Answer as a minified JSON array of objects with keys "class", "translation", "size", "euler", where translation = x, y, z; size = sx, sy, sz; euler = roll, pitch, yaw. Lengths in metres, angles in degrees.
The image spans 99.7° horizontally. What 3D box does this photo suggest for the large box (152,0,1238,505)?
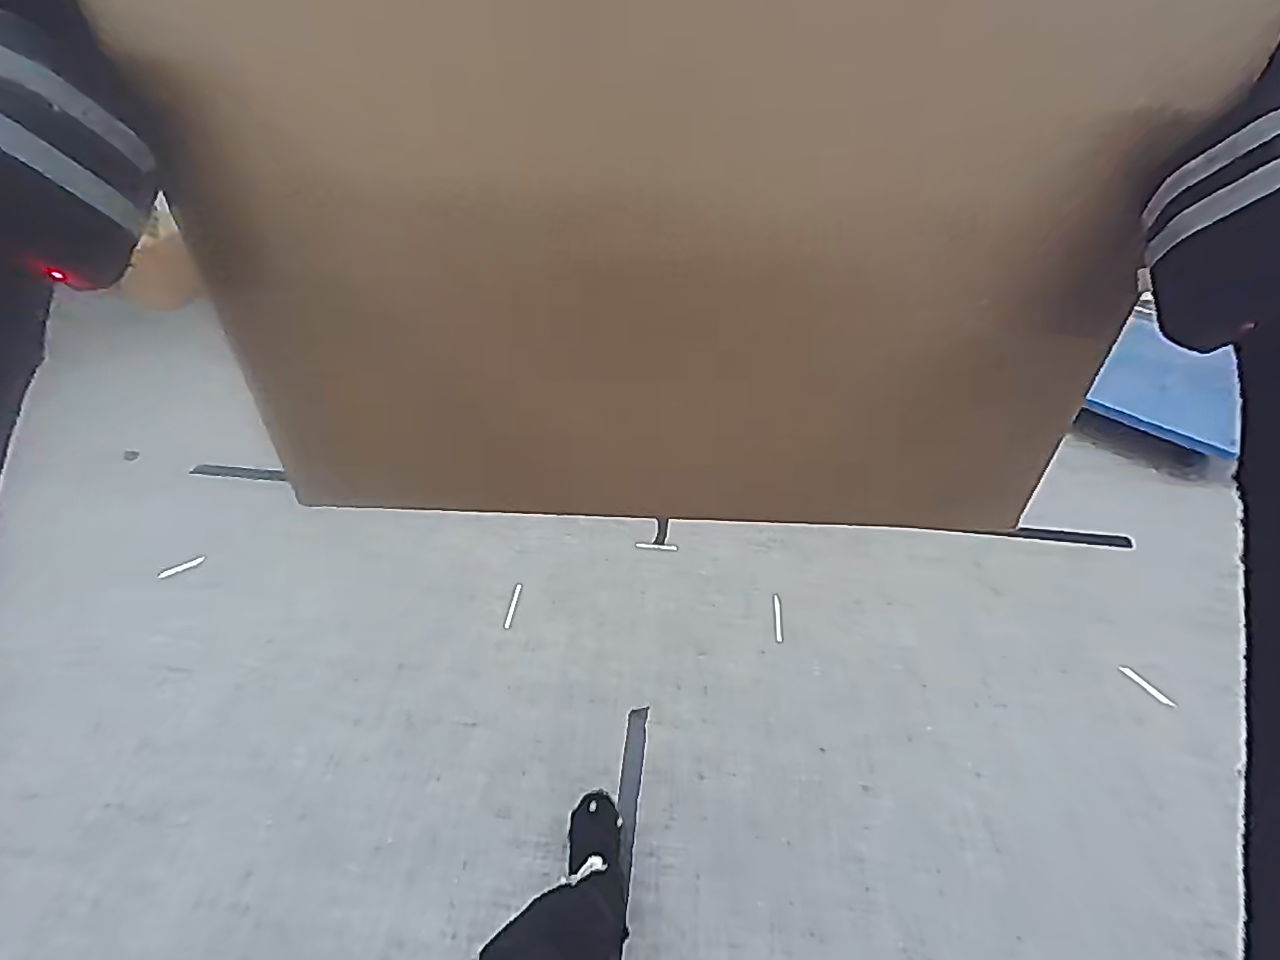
[{"class":"large box","translation":[0.016,-0.196,0.356],"size":[0.408,0.320,0.320],"euler":[3,35,0]}]
